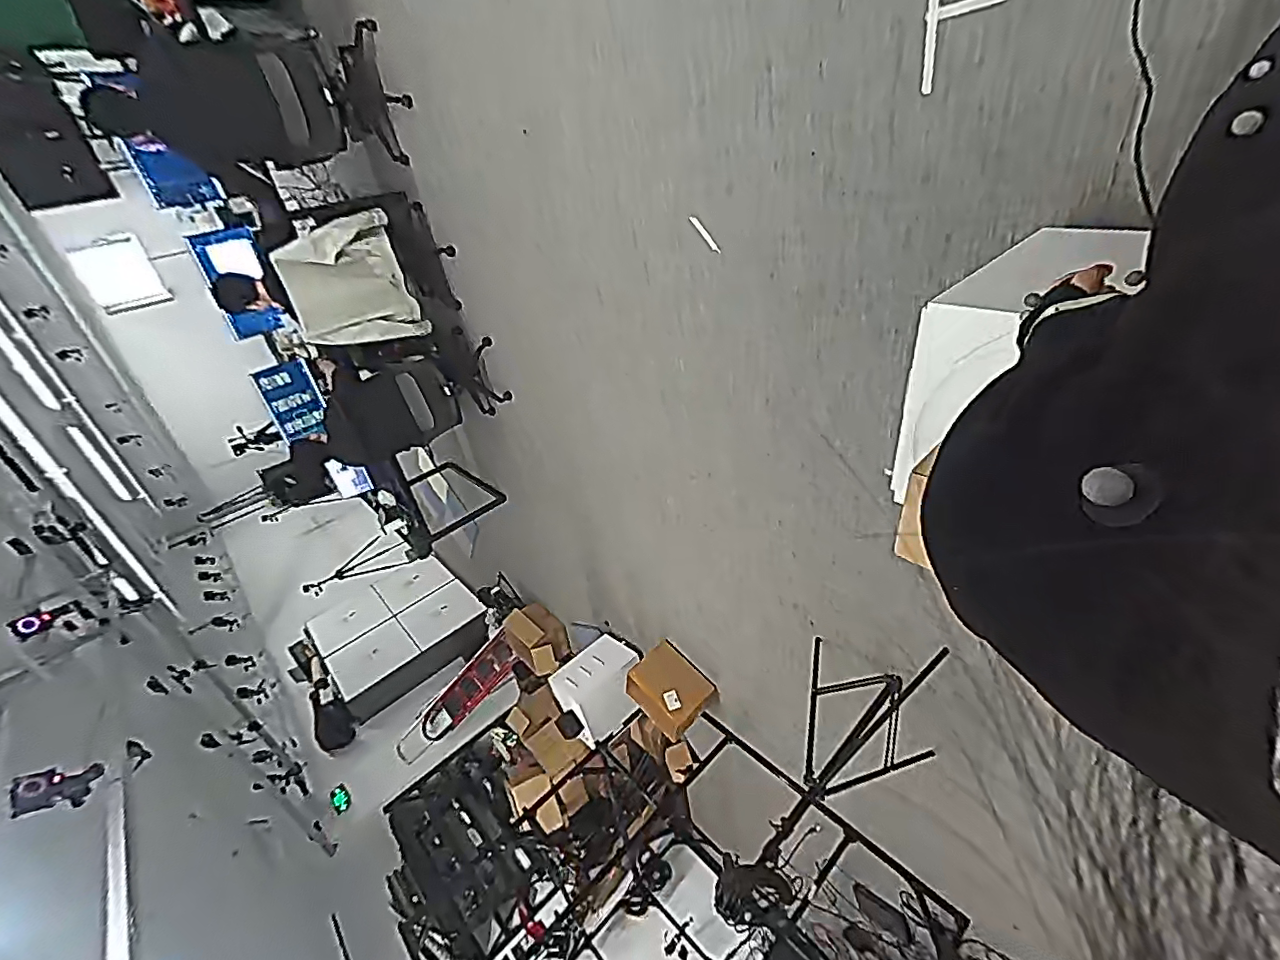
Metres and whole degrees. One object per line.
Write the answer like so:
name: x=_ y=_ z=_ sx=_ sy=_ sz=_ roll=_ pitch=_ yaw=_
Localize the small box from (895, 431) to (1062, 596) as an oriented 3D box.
small box: x=0.540 y=0.043 z=0.867 sx=0.168 sy=0.176 sz=0.179 roll=27 pitch=138 yaw=40
